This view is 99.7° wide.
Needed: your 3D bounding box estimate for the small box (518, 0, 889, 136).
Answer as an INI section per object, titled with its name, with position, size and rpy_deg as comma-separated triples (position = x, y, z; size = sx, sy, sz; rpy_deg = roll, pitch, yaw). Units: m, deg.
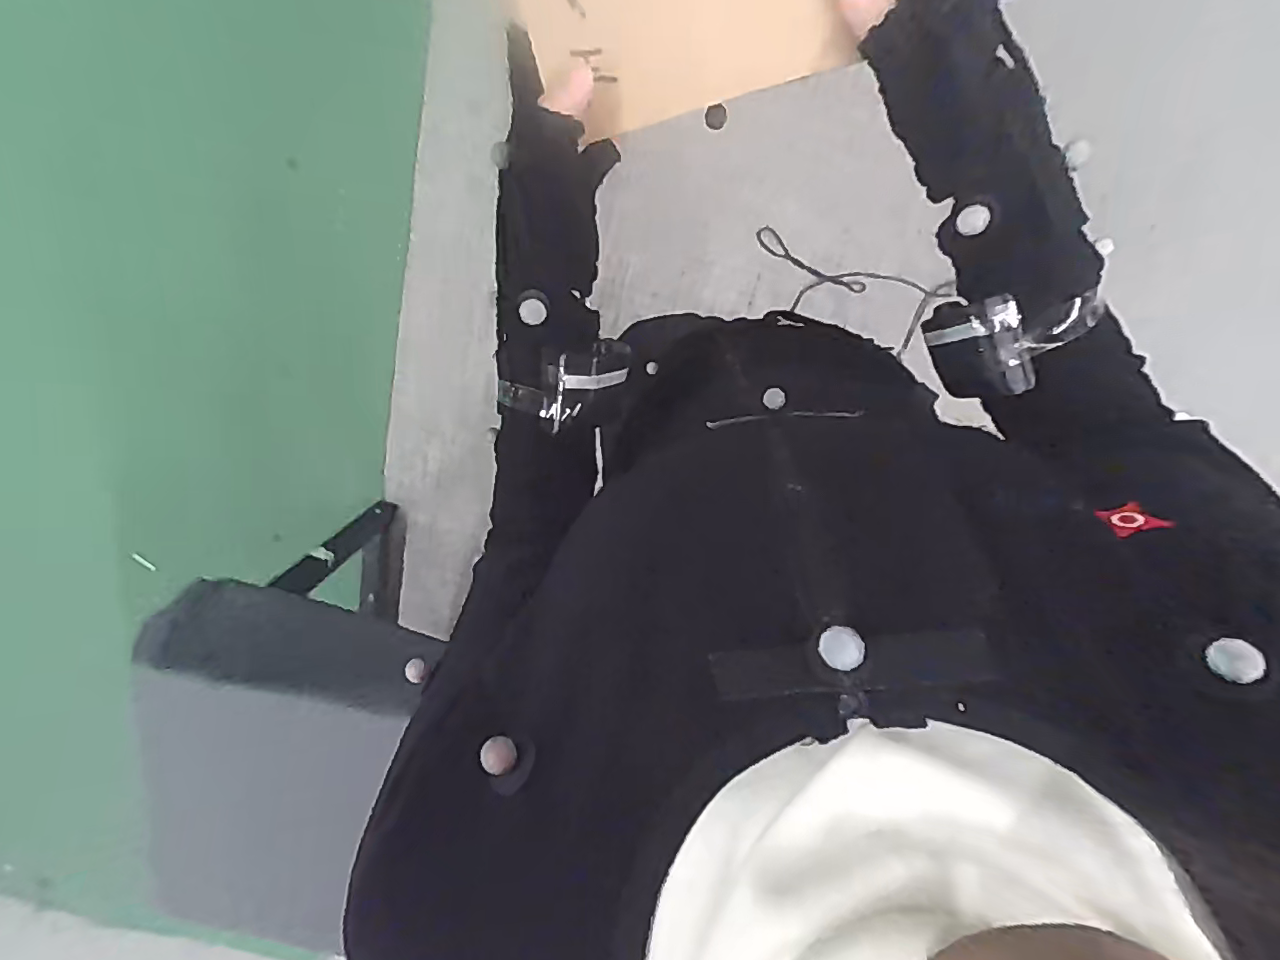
[small box]
position = 0.026, -0.310, 0.299
size = 0.179, 0.176, 0.168
rpy_deg = -7, 124, 12
